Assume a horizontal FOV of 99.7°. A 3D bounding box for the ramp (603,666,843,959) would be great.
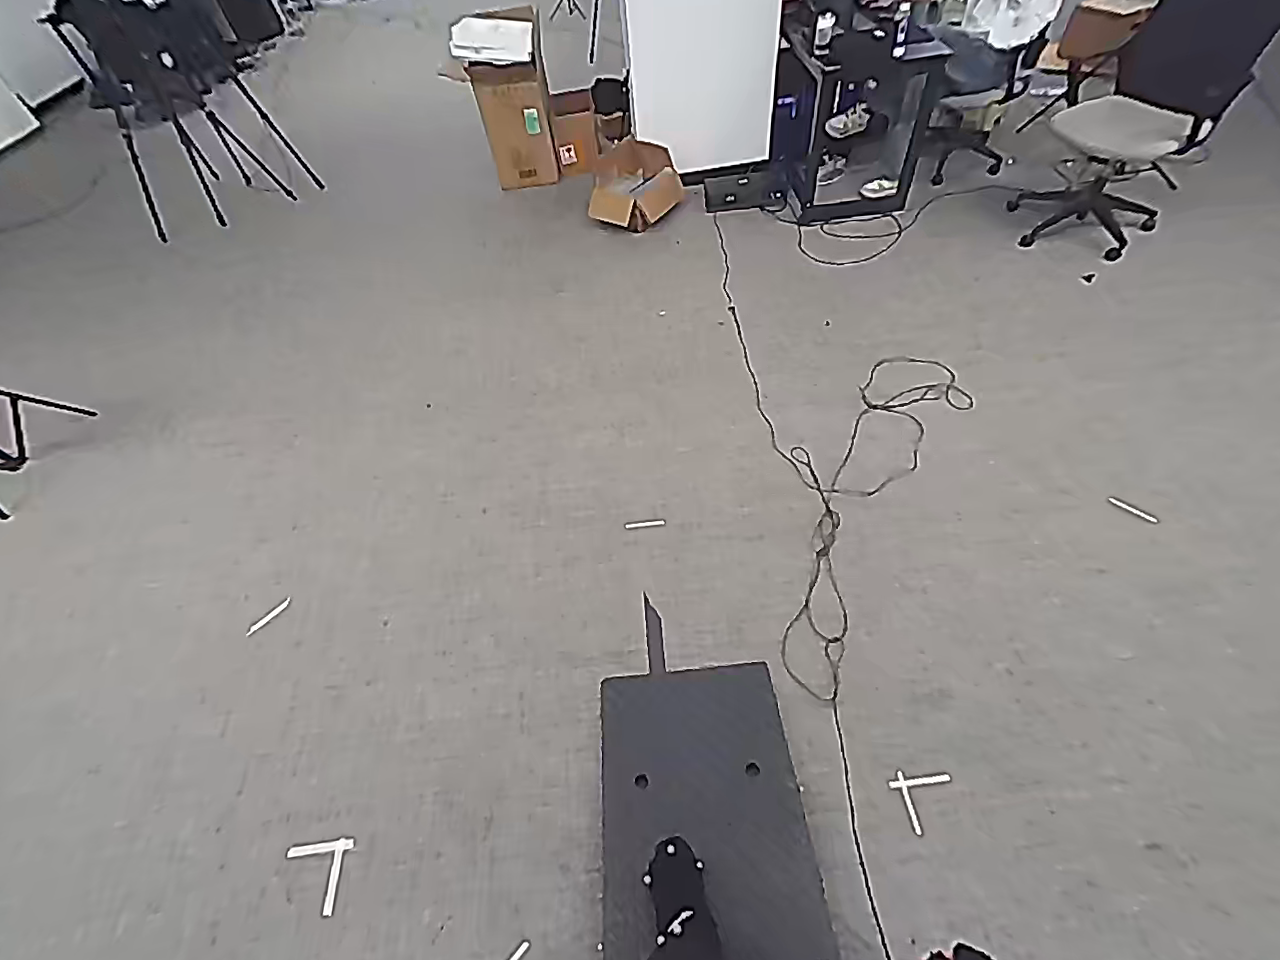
[{"bbox_3d":[0.161,0.906,1.219,0.509,0.206,0.991,-9,51,2],"label":"ramp"}]
